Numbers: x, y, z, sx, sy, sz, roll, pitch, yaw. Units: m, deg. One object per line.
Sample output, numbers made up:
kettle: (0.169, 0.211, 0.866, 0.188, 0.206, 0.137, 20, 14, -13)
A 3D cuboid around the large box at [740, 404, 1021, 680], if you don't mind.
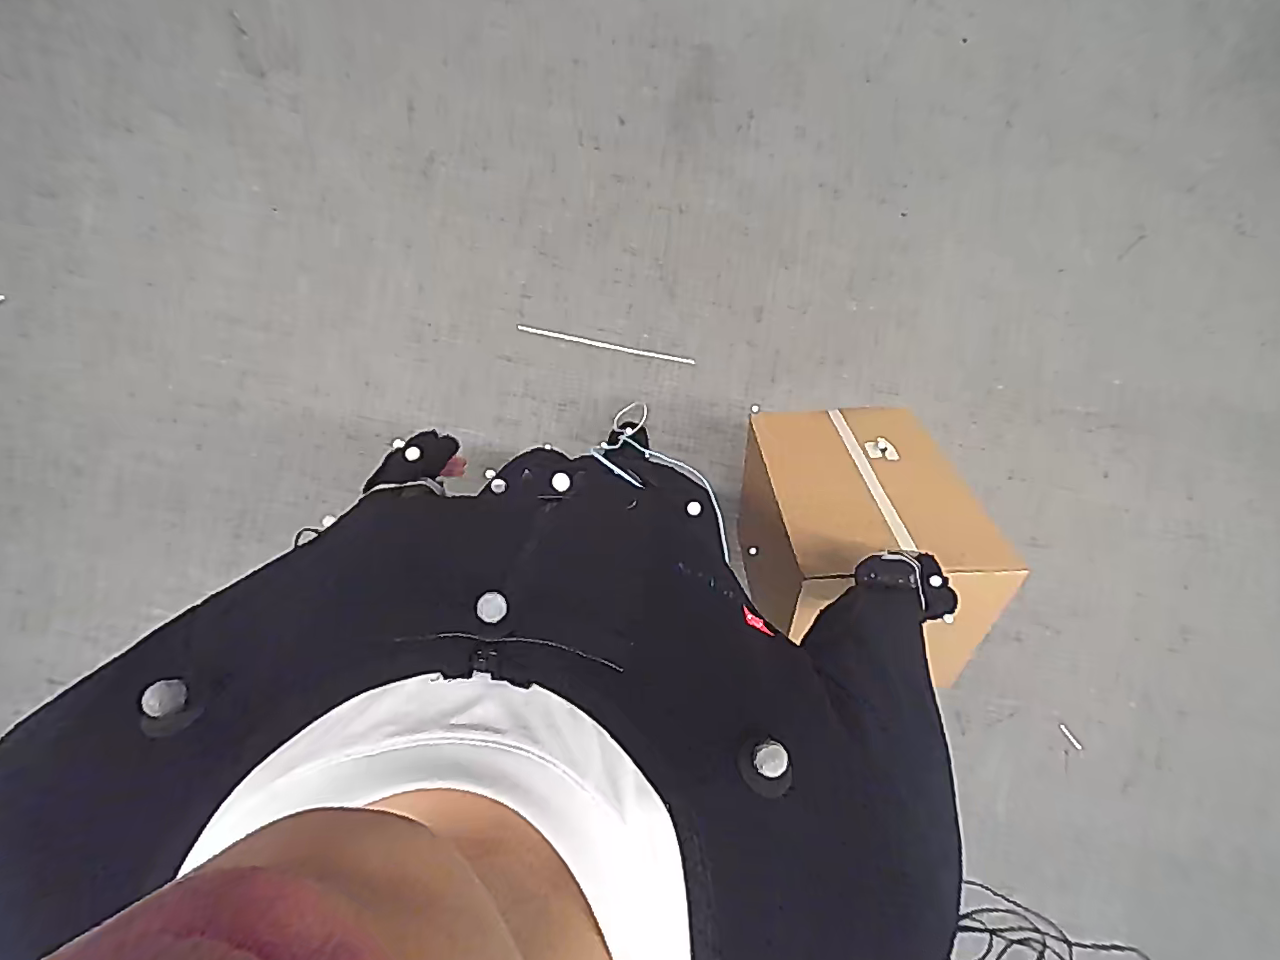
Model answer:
large box: (0.378, 0.103, 0.993, 0.320, 0.408, 0.320, -1, 130, 0)
